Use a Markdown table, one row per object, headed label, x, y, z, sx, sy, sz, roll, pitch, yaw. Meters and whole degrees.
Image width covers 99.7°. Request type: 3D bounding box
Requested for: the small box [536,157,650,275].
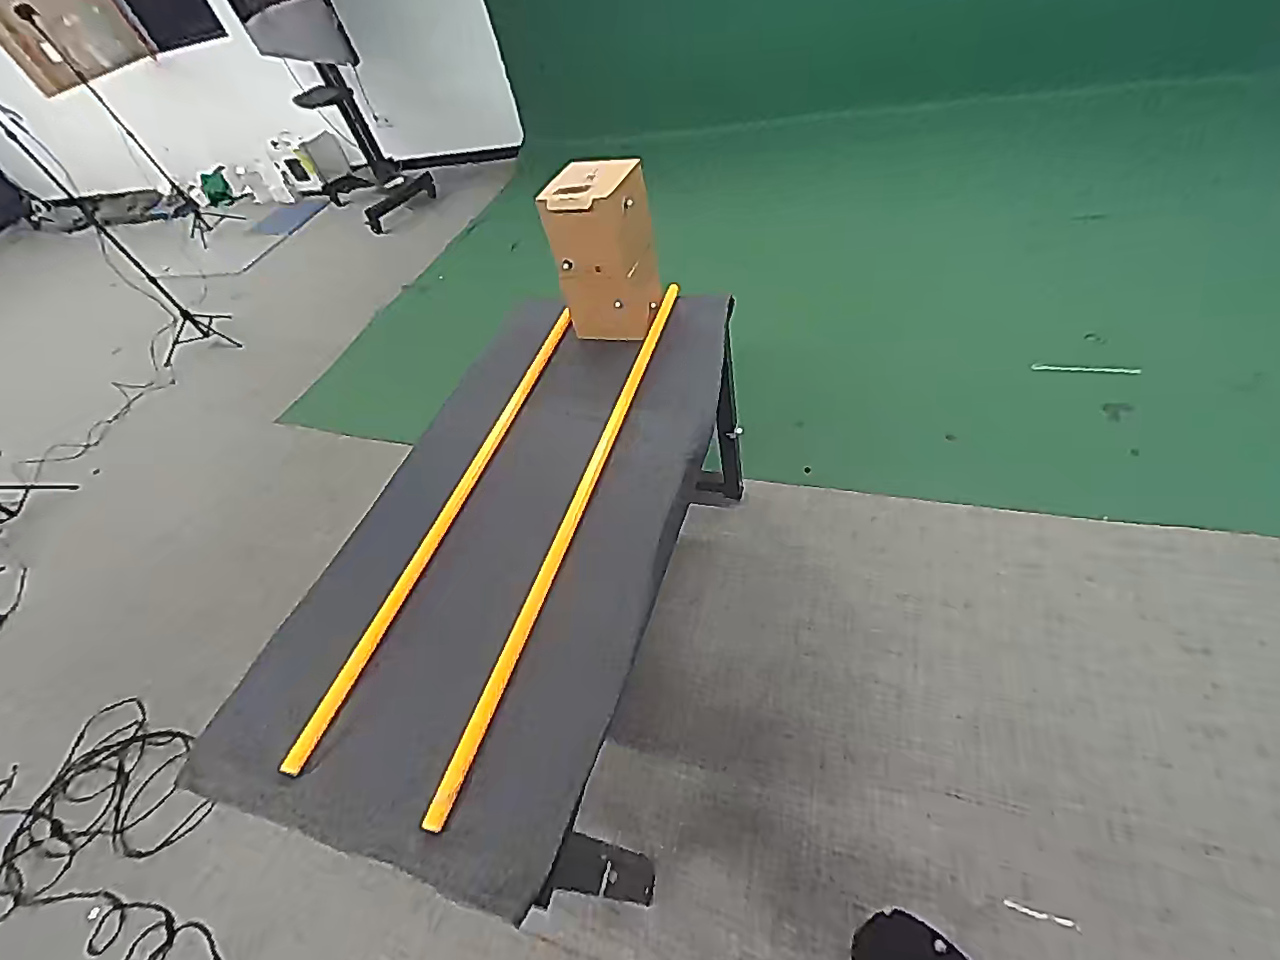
| label | x | y | z | sx | sy | sz | roll | pitch | yaw |
| --- | --- | --- | --- | --- | --- | --- | --- | --- | --- |
| small box | -0.088 | -0.557 | 1.150 | 0.168 | 0.176 | 0.179 | 11 | 54 | 21 |
